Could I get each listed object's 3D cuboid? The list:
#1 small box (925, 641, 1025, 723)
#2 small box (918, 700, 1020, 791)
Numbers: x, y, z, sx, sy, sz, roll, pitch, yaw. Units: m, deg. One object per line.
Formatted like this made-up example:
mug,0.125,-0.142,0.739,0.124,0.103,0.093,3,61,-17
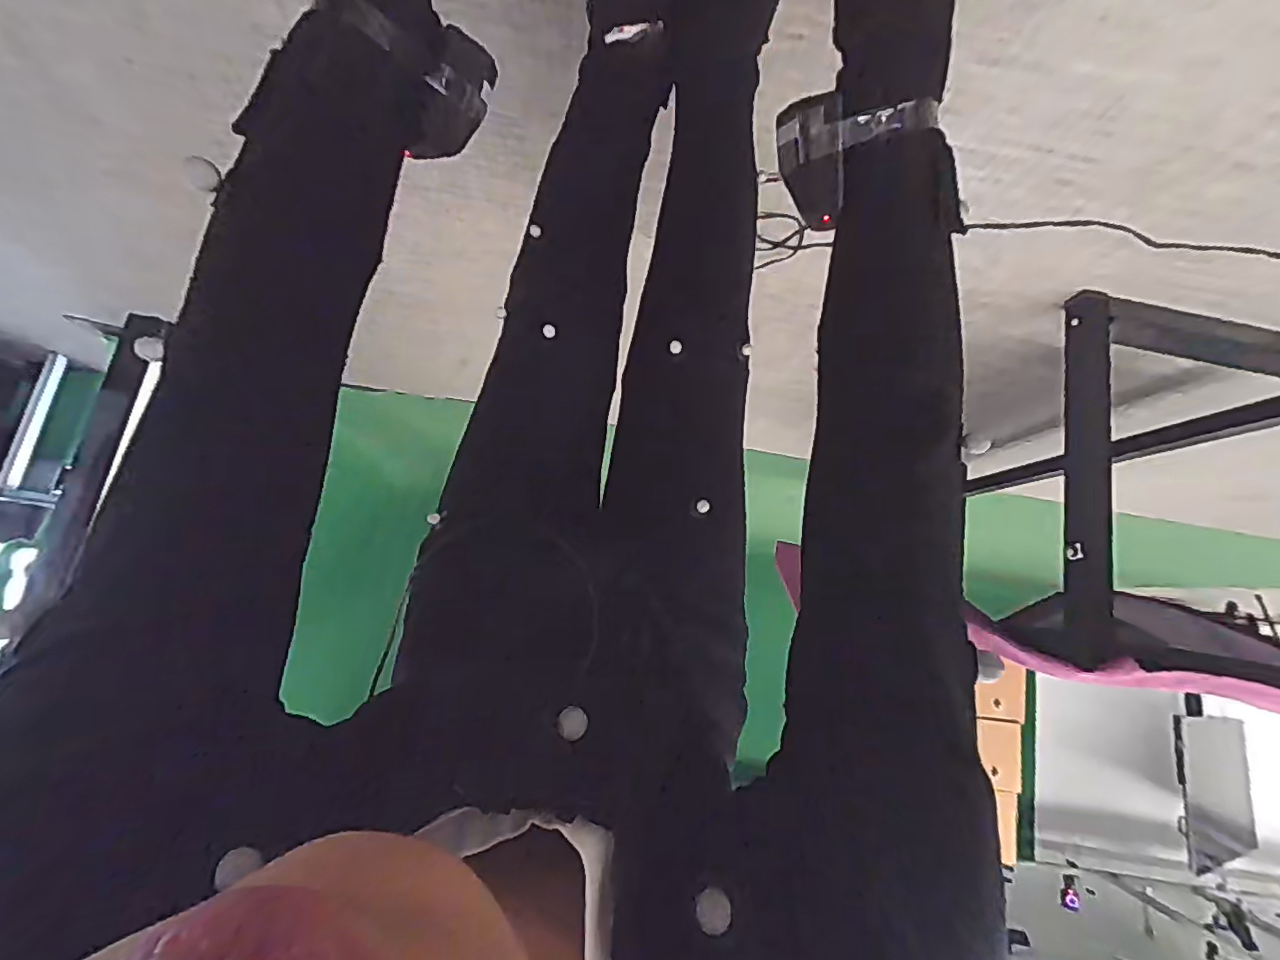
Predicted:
small box,0.917,0.546,1.480,0.179,0.176,0.168,12,168,-7
small box,0.875,0.700,1.441,0.179,0.176,0.168,11,167,-5
